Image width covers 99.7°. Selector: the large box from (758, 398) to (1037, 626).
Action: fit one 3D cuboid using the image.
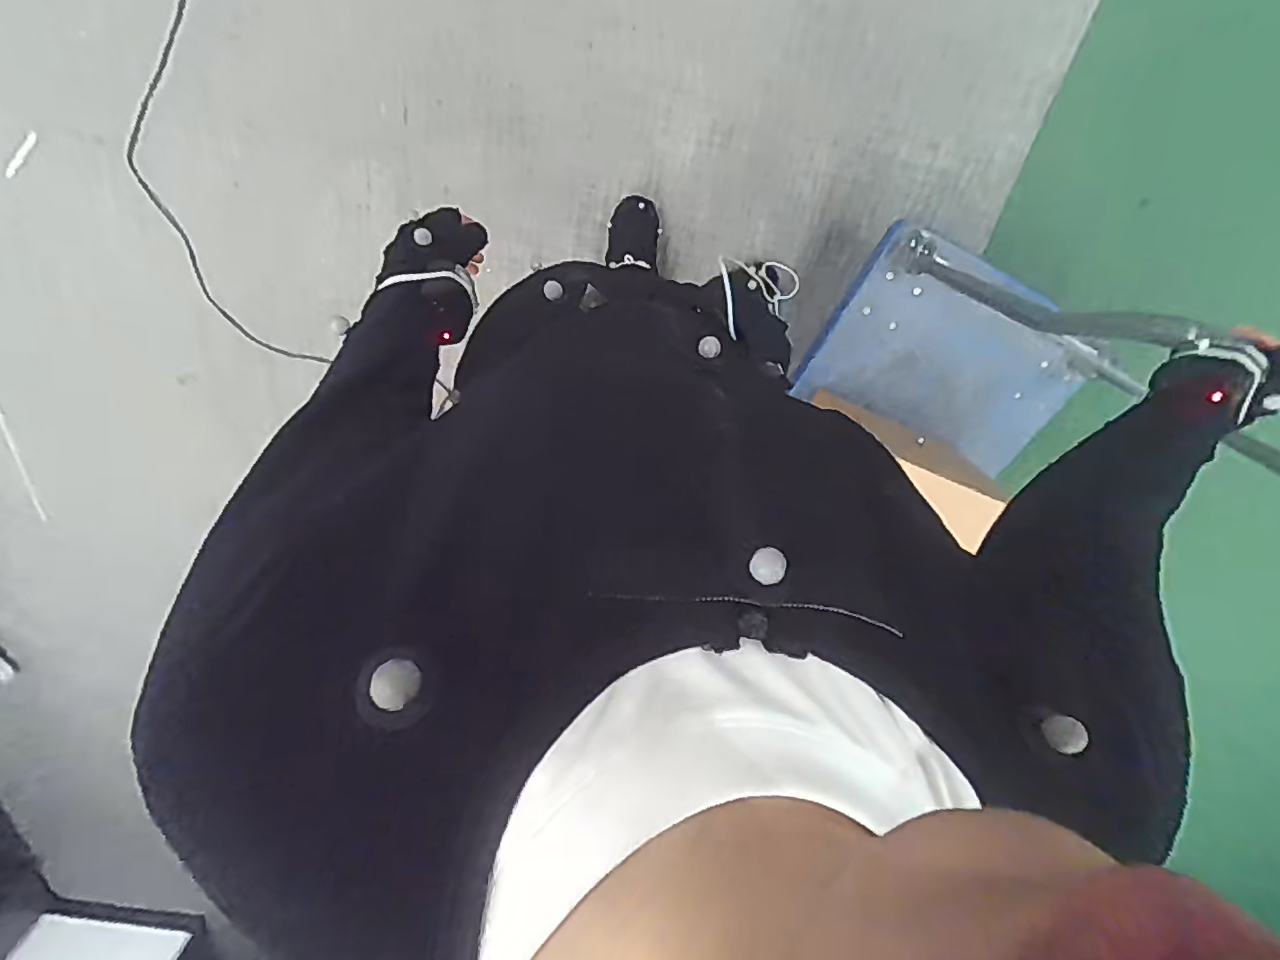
[{"bbox_3d":[0.530,0.061,1.209,0.408,0.320,0.320,20,117,-10],"label":"large box"}]
